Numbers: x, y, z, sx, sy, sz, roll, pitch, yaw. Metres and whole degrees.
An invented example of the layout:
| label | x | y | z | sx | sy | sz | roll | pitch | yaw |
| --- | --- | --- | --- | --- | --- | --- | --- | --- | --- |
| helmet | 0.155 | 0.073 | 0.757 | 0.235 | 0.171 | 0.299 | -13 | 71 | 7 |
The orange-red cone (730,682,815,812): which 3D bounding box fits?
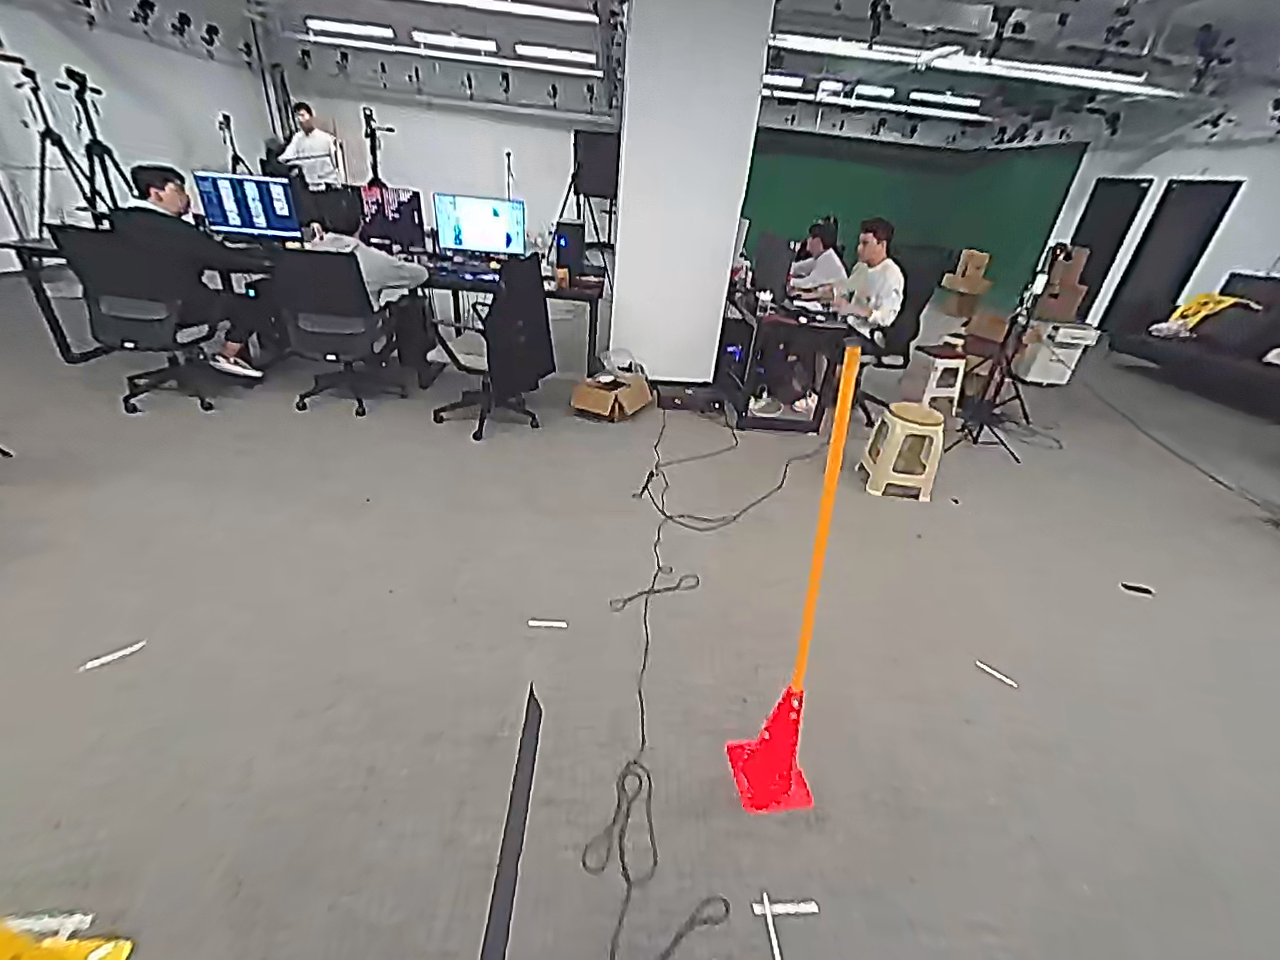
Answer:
| label | x | y | z | sx | sy | sz | roll | pitch | yaw |
| --- | --- | --- | --- | --- | --- | --- | --- | --- | --- |
| orange-red cone | 0.375 | 0.670 | 1.420 | 0.199 | 0.360 | 0.198 | 0 | 29 | -8 |
